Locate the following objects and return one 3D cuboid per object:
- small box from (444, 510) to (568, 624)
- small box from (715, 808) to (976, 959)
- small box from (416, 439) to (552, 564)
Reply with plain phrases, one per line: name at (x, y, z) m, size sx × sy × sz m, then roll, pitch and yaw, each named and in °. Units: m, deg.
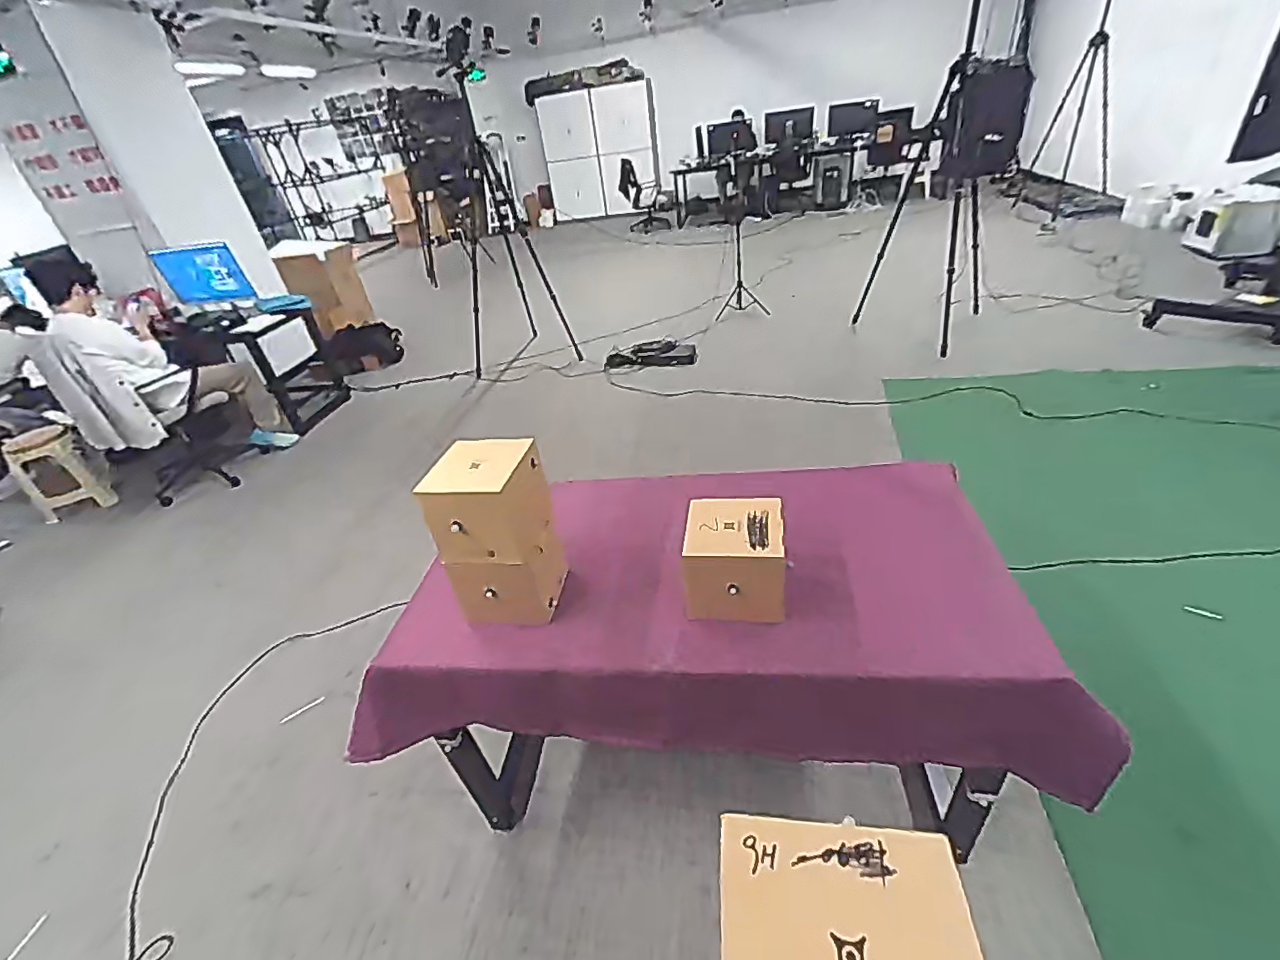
small box at (-0.259, 0.175, 1.099) m, size 0.179 × 0.176 × 0.168 m, roll -2°, pitch 34°, yaw 12°
small box at (0.139, 0.374, 0.394) m, size 0.168 × 0.176 × 0.179 m, roll 1°, pitch 38°, yaw 9°
small box at (-0.278, 0.041, 1.010) m, size 0.168 × 0.176 × 0.179 m, roll -1°, pitch 34°, yaw 12°
